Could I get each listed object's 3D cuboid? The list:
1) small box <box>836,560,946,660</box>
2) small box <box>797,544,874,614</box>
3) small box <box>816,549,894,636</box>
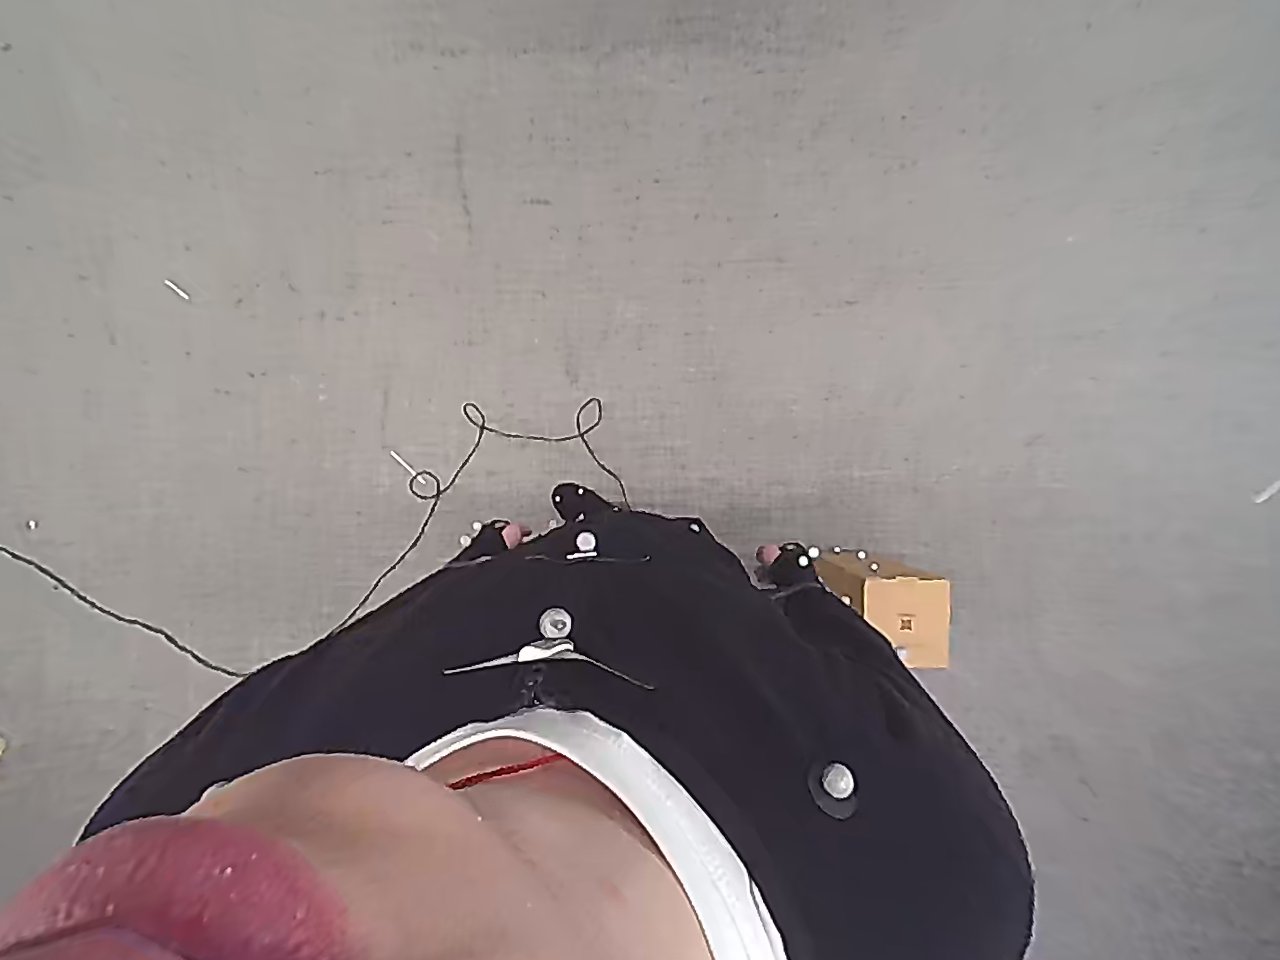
[{"bbox_3d":[0.527,0.270,1.157,0.168,0.176,0.179,0,93,2],"label":"small box"},{"bbox_3d":[0.542,0.272,1.503,0.179,0.176,0.168,-2,91,1],"label":"small box"},{"bbox_3d":[0.538,0.272,1.316,0.168,0.176,0.179,2,92,-1],"label":"small box"}]
